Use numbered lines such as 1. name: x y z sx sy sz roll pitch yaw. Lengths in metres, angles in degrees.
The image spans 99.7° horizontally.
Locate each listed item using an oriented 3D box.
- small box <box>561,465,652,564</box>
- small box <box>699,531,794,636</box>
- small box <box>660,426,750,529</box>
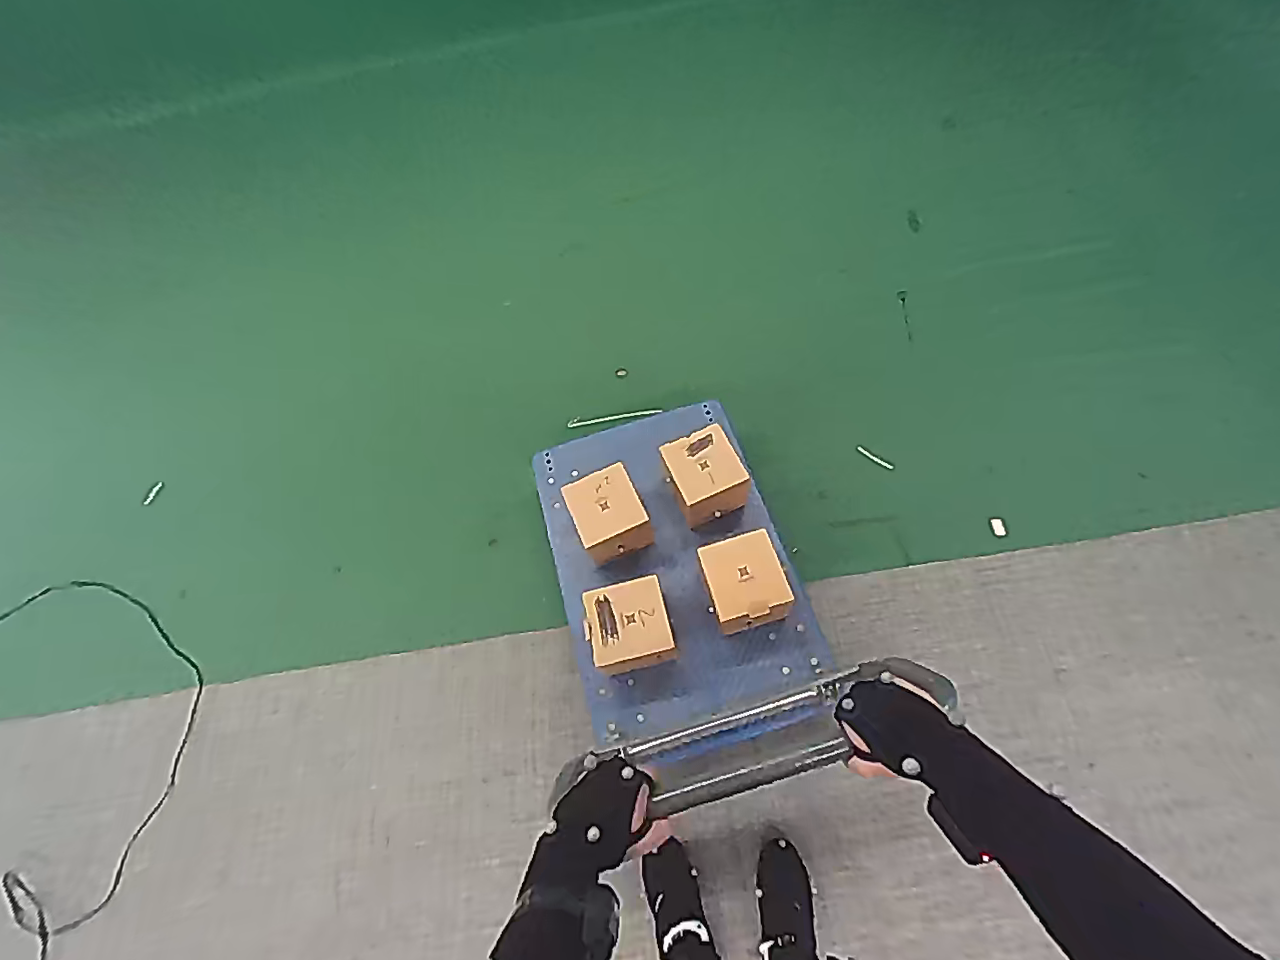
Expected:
1. small box: -0.078 0.097 1.363 0.168 0.176 0.179 -23 64 -6
2. small box: 0.237 0.245 1.258 0.168 0.176 0.179 -17 64 -1
3. small box: 0.162 -0.001 1.383 0.168 0.176 0.179 -23 65 -4
